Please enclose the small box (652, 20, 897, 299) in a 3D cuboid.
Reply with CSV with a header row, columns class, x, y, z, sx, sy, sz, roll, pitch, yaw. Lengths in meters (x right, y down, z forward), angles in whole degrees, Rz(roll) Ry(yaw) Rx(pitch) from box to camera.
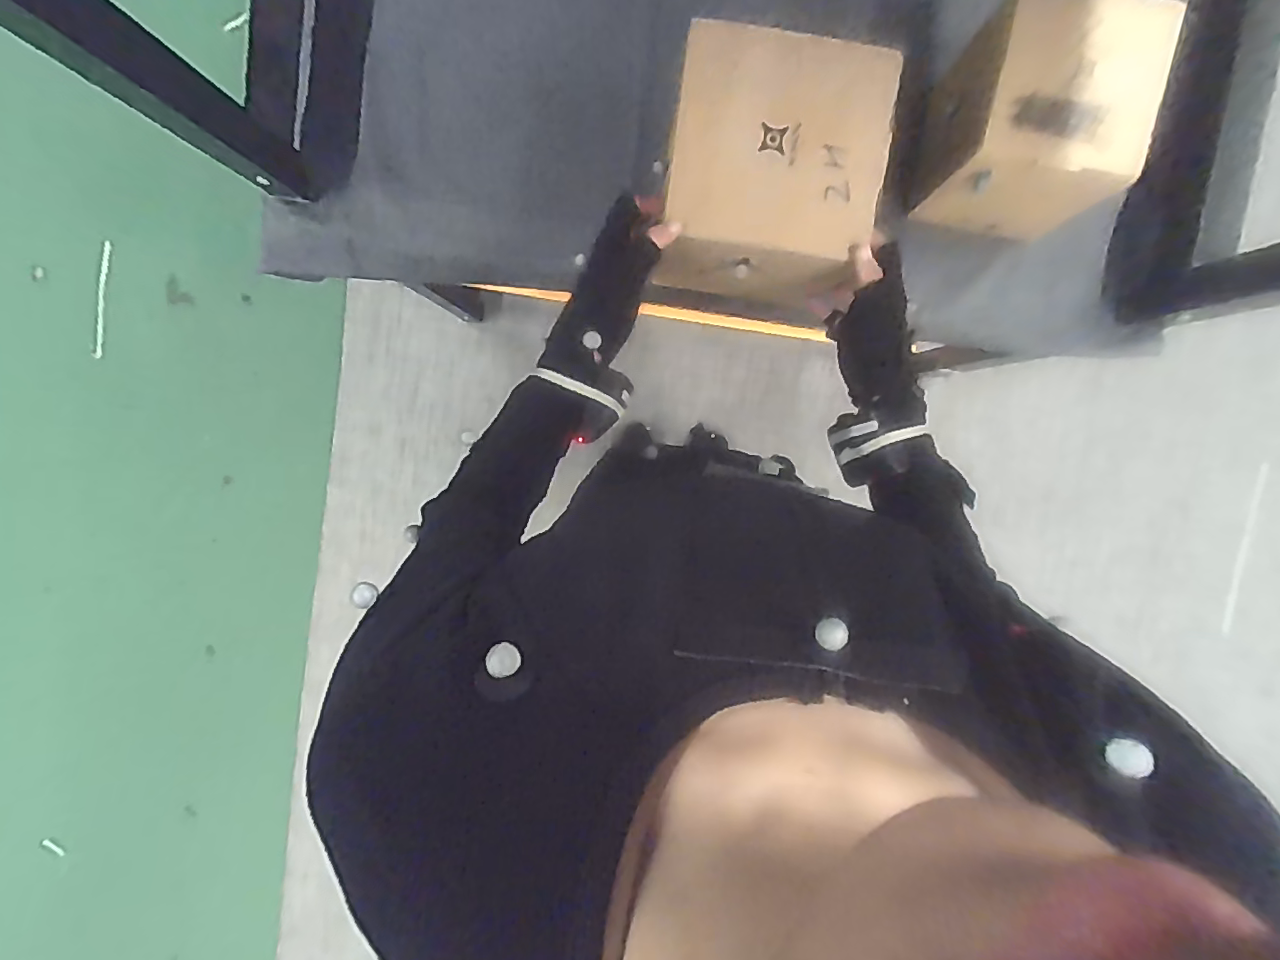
class,x,y,z,sx,sy,sz,roll,pitch,yaw
small box,0.109,-0.283,0.519,0.179,0.176,0.168,8,97,-2
